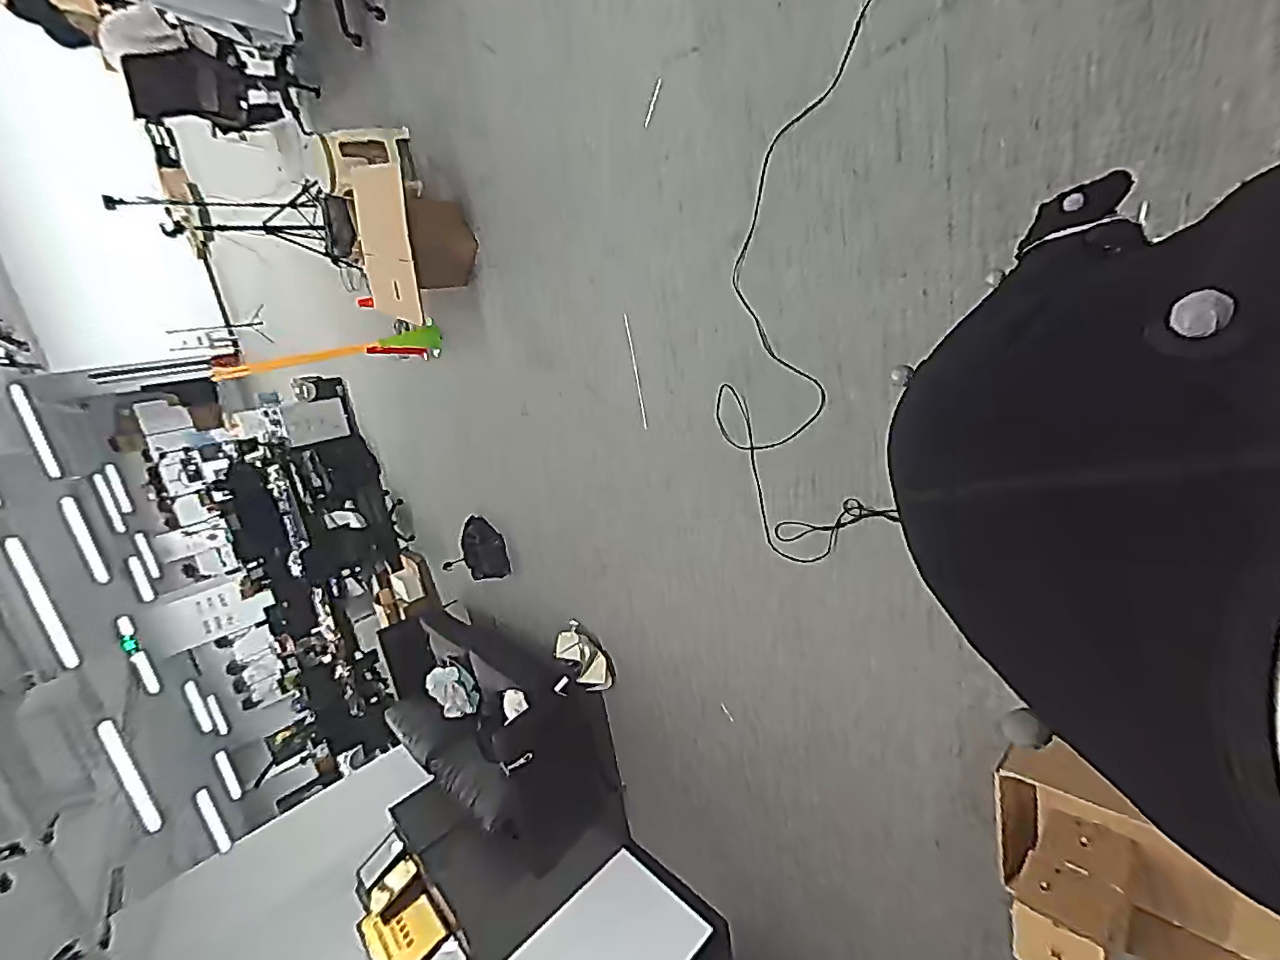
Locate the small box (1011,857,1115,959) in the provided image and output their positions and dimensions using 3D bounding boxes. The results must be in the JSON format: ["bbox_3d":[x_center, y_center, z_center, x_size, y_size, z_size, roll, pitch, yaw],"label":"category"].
[{"bbox_3d":[0.972,1.029,1.243,0.168,0.176,0.179,4,110,47],"label":"small box"}]

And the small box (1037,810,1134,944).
[{"bbox_3d":[1.111,0.974,1.348,0.168,0.176,0.179,-3,106,47],"label":"small box"}]
